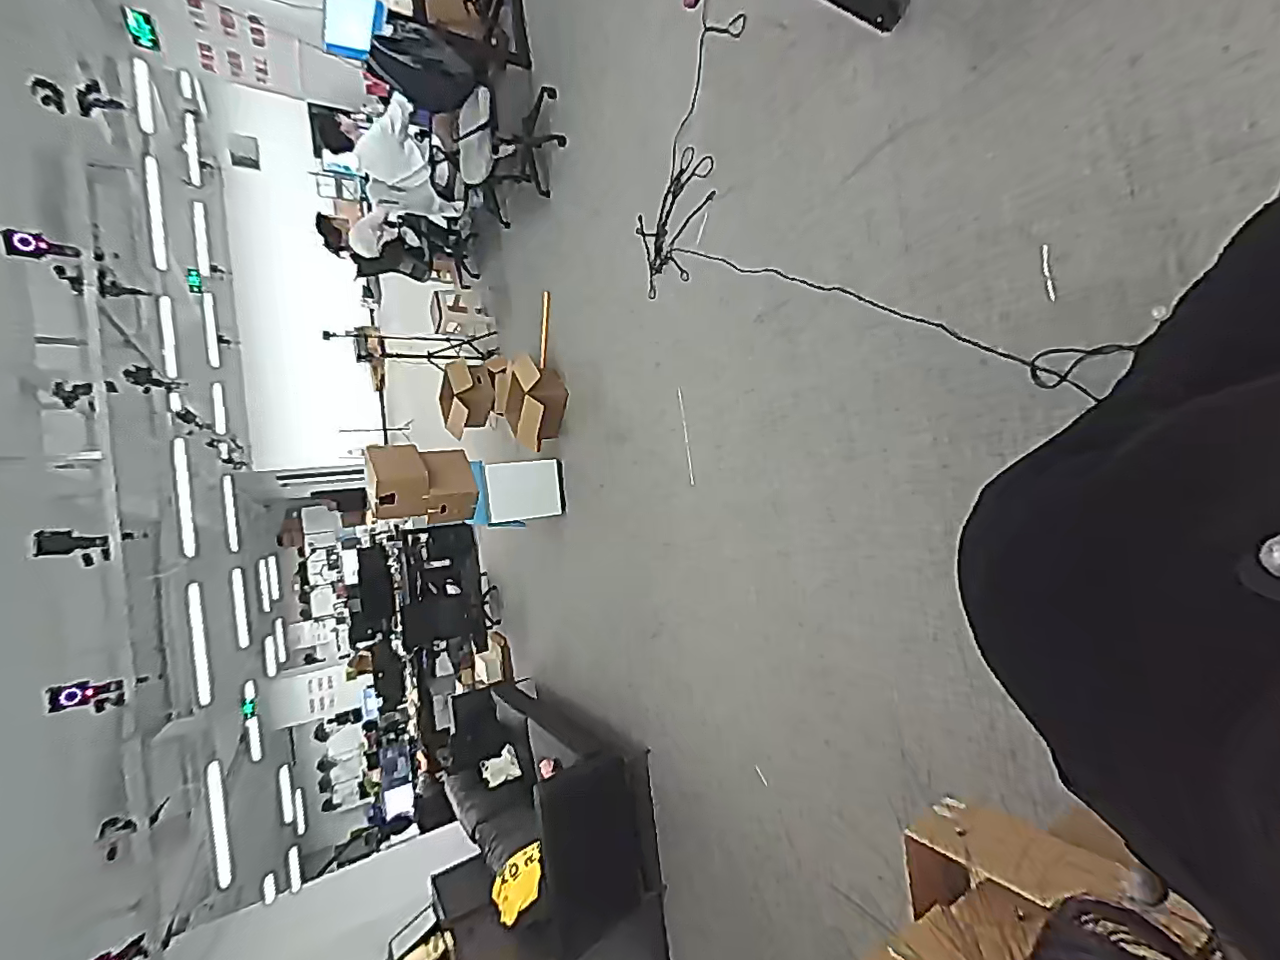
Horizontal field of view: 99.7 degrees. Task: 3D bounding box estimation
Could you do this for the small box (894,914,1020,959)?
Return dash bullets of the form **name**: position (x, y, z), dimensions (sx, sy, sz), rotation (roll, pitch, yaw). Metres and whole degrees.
- **small box**: position (0.574, 0.915, 0.939), dimensions (0.179, 0.176, 0.168), rotation (-1, 94, 60)
